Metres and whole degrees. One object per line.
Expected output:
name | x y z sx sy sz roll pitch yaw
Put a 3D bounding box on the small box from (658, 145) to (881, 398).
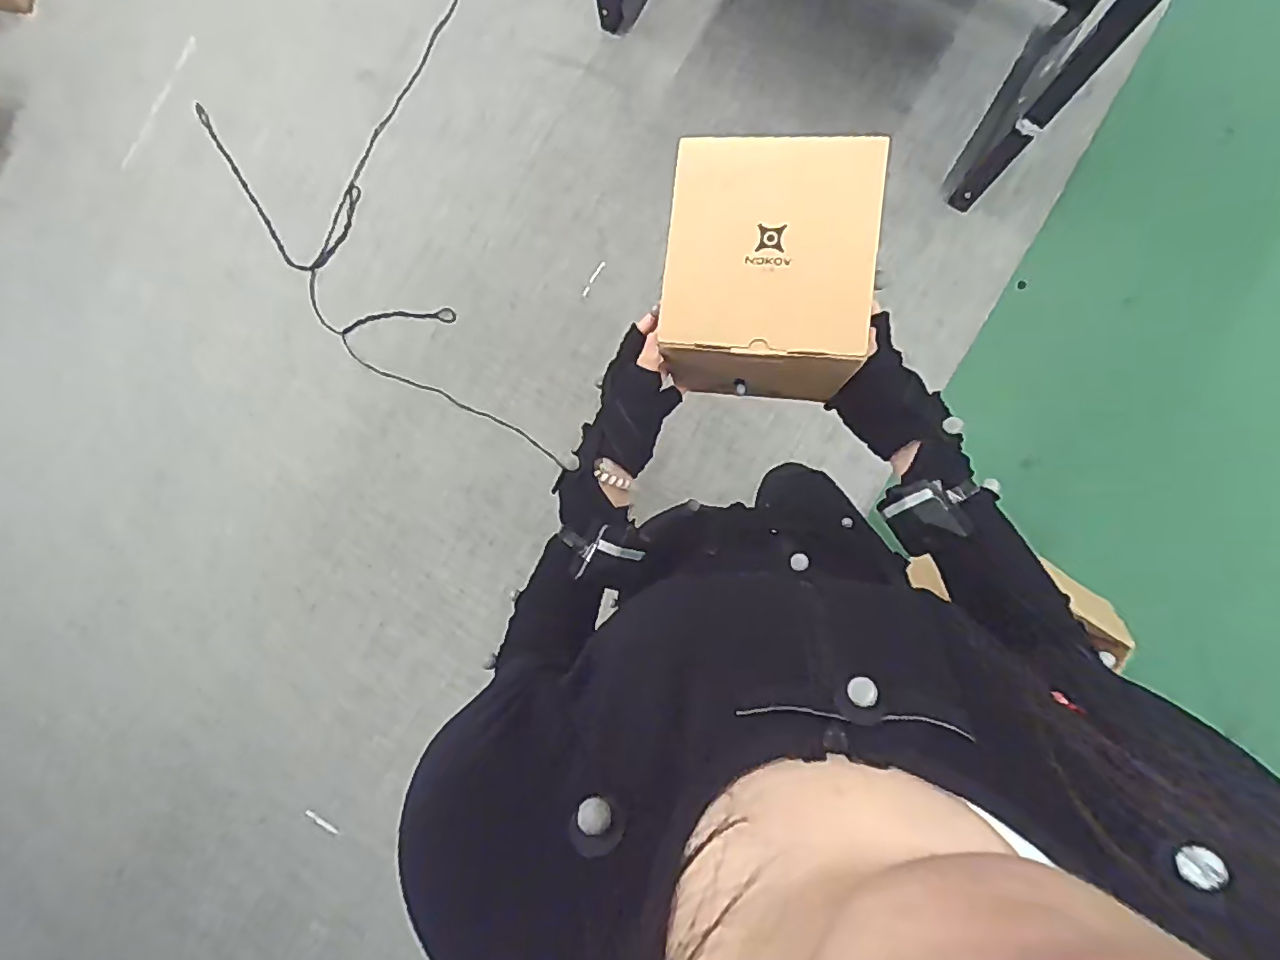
small box | 0.117 -0.187 0.523 0.168 0.176 0.179 6 90 10
